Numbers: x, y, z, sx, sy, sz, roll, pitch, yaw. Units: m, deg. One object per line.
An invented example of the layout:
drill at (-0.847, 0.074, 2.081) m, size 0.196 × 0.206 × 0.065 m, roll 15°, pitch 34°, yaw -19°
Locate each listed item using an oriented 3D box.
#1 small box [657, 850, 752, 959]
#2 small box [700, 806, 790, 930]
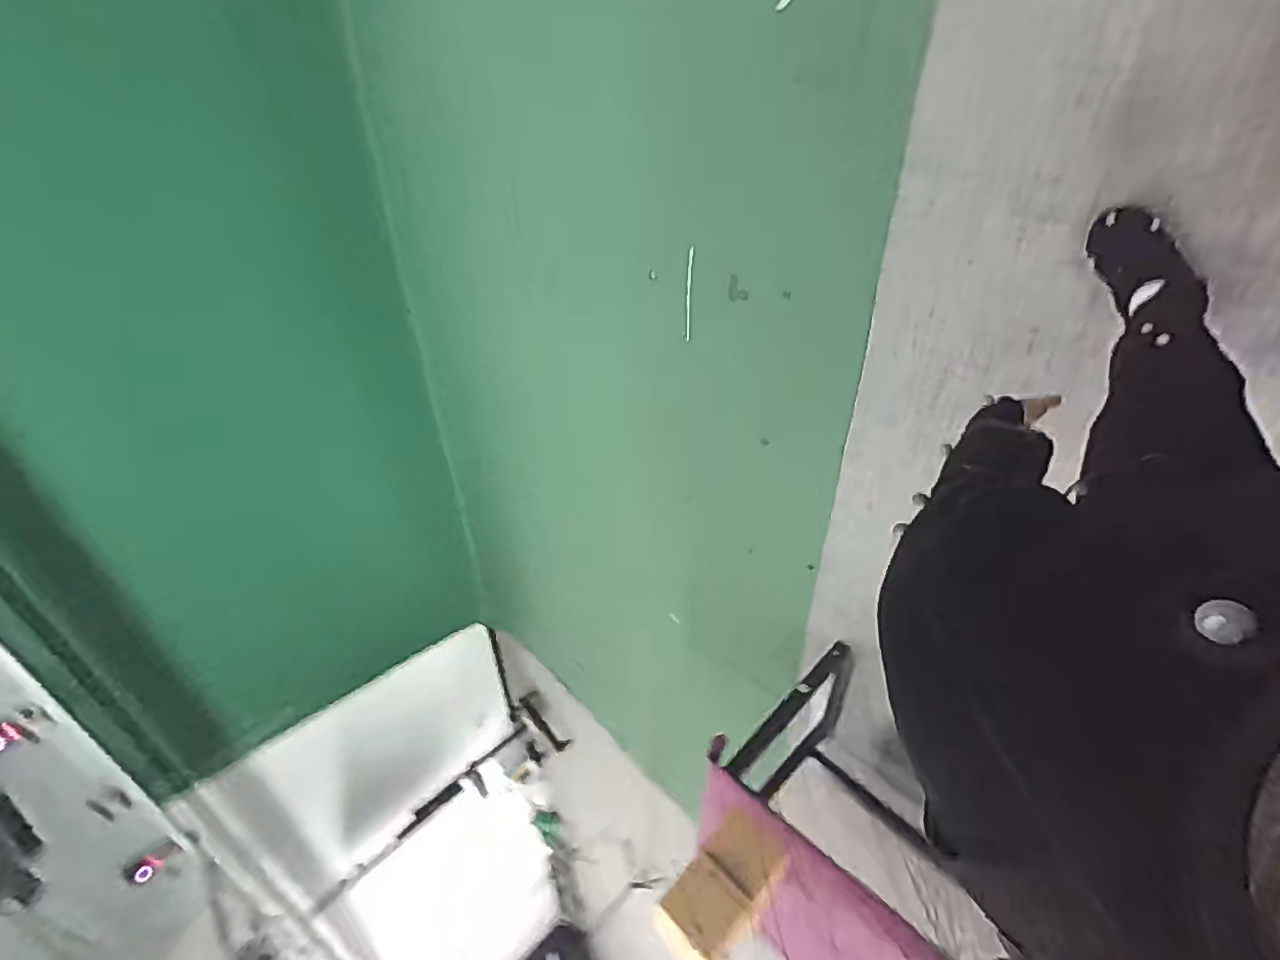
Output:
small box at (0.159, 1.075, 1.338) m, size 0.168 × 0.176 × 0.179 m, roll 29°, pitch 133°, yaw 37°
small box at (0.277, 1.026, 1.443) m, size 0.179 × 0.176 × 0.168 m, roll 28°, pitch 132°, yaw 39°
